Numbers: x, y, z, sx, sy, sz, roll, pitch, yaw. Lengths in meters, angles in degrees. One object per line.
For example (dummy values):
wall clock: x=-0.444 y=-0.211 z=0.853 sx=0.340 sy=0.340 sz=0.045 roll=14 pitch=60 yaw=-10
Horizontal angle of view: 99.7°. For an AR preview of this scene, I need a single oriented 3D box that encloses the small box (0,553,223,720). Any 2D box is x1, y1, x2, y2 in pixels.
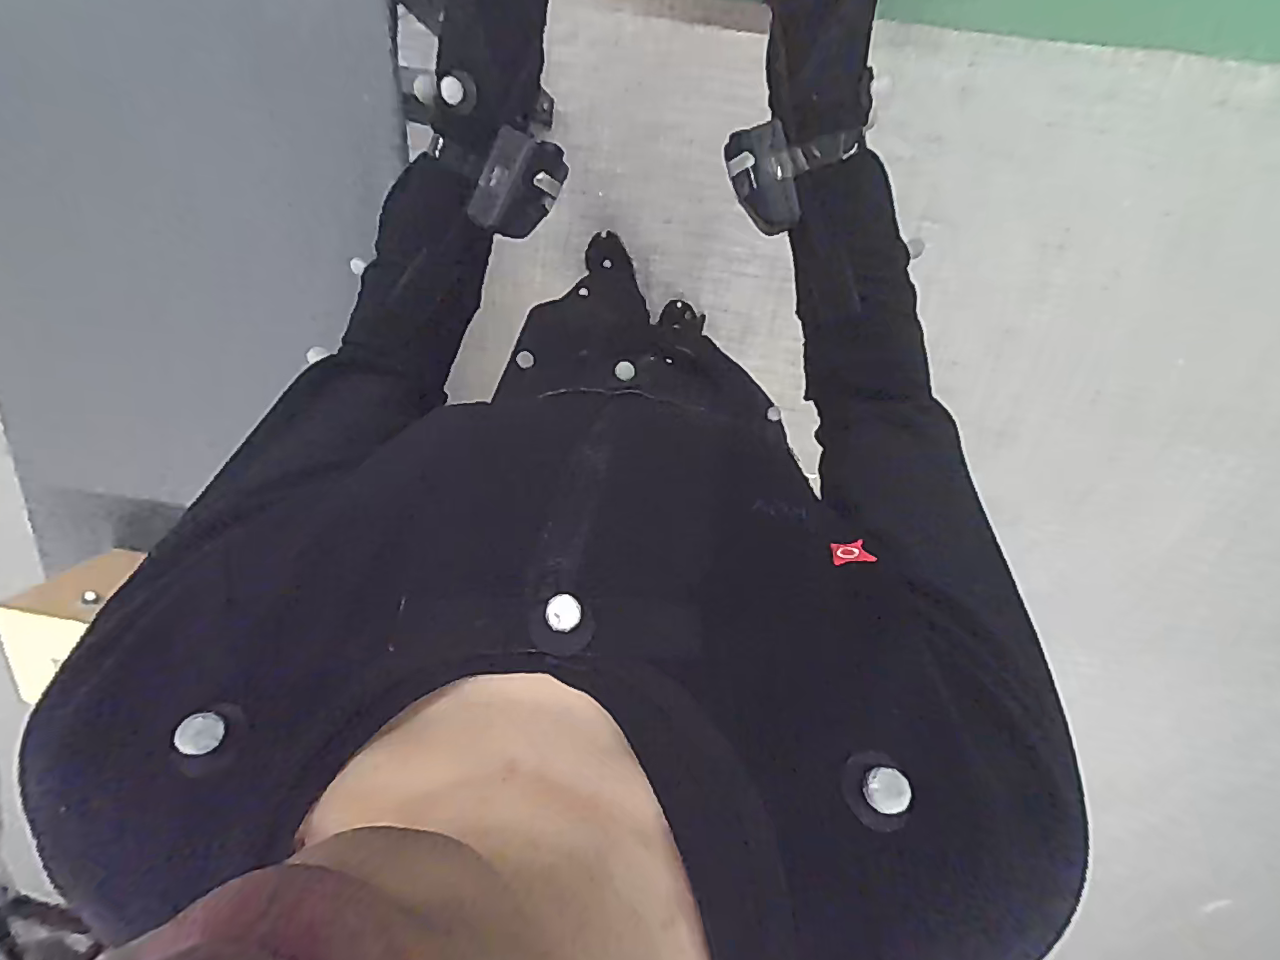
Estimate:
small box: x=-0.779 y=0.228 z=0.822 sx=0.179 sy=0.176 sz=0.168 roll=9 pitch=111 yaw=3
